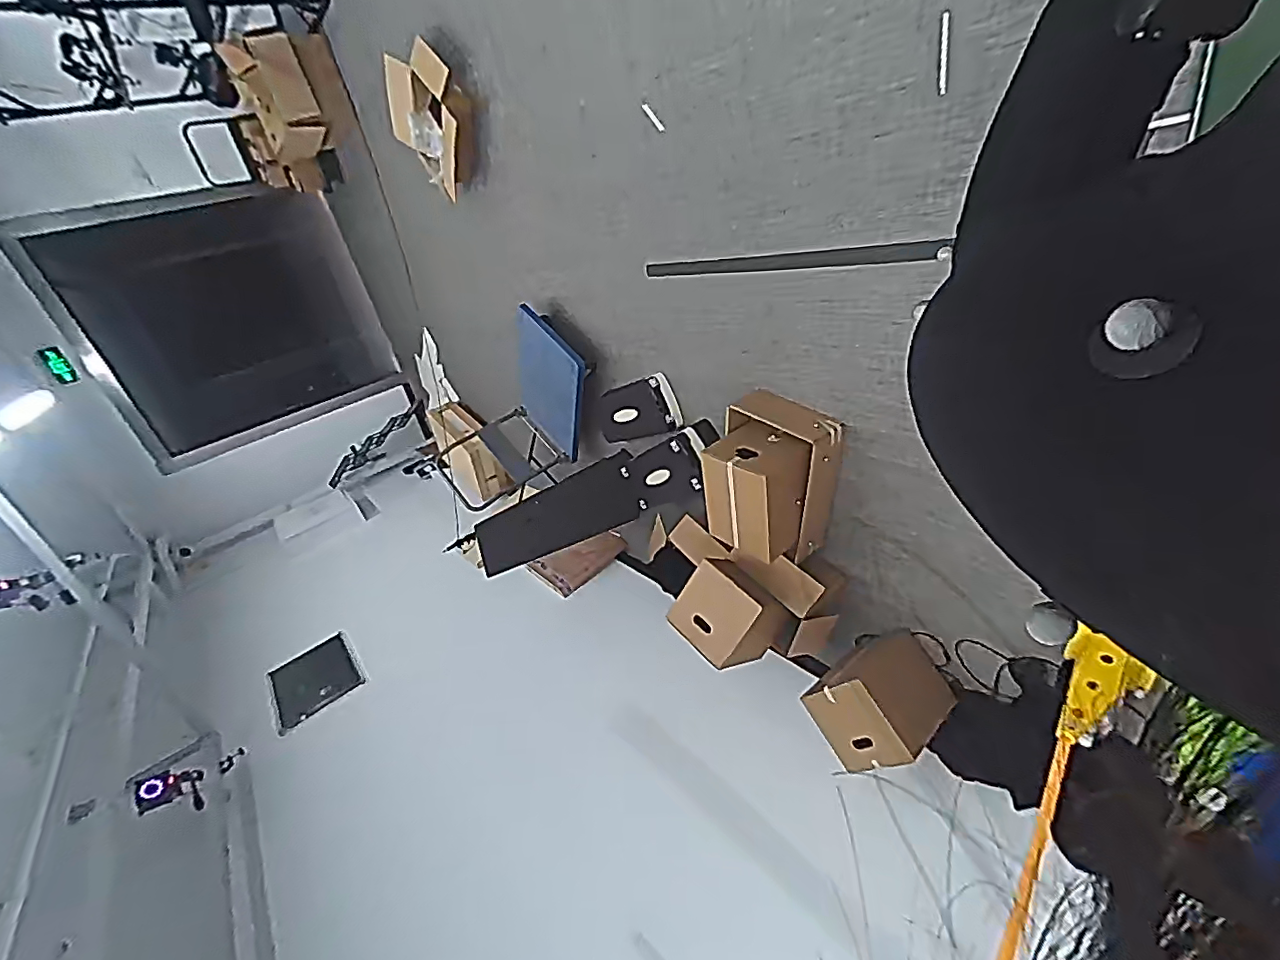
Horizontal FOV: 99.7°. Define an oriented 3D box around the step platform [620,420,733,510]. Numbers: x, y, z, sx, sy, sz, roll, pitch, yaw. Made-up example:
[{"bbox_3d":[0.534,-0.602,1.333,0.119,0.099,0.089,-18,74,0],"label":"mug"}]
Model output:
[{"bbox_3d":[0.153,-0.055,2.702,0.286,0.204,0.684,60,150,-2],"label":"step platform"}]
